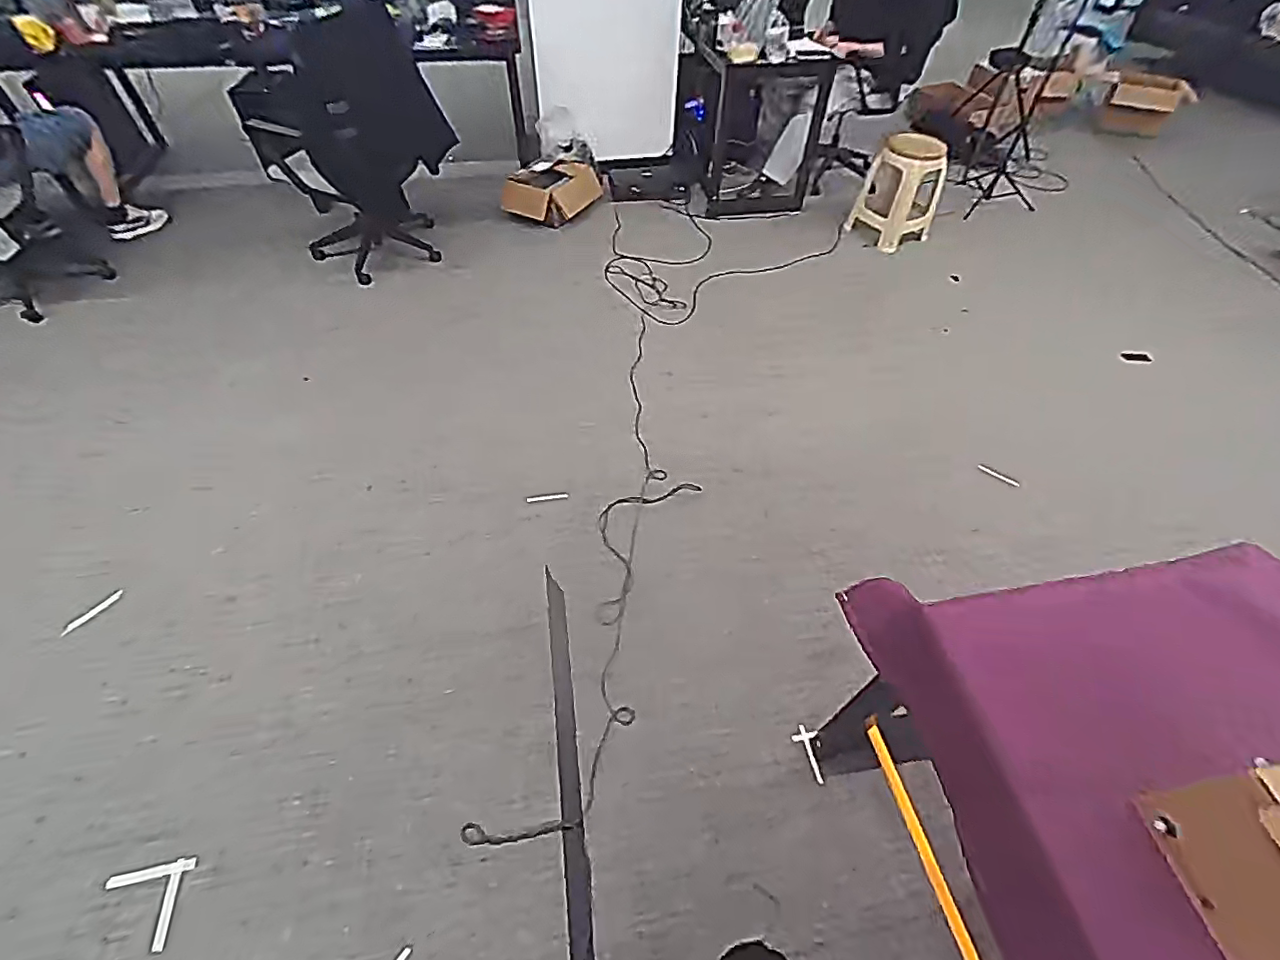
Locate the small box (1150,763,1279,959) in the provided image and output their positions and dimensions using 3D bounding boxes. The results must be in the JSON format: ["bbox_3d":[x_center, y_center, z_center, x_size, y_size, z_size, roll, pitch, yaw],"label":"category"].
[{"bbox_3d":[0.695,0.395,0.557,0.179,0.176,0.168,-4,52,-6],"label":"small box"}]
